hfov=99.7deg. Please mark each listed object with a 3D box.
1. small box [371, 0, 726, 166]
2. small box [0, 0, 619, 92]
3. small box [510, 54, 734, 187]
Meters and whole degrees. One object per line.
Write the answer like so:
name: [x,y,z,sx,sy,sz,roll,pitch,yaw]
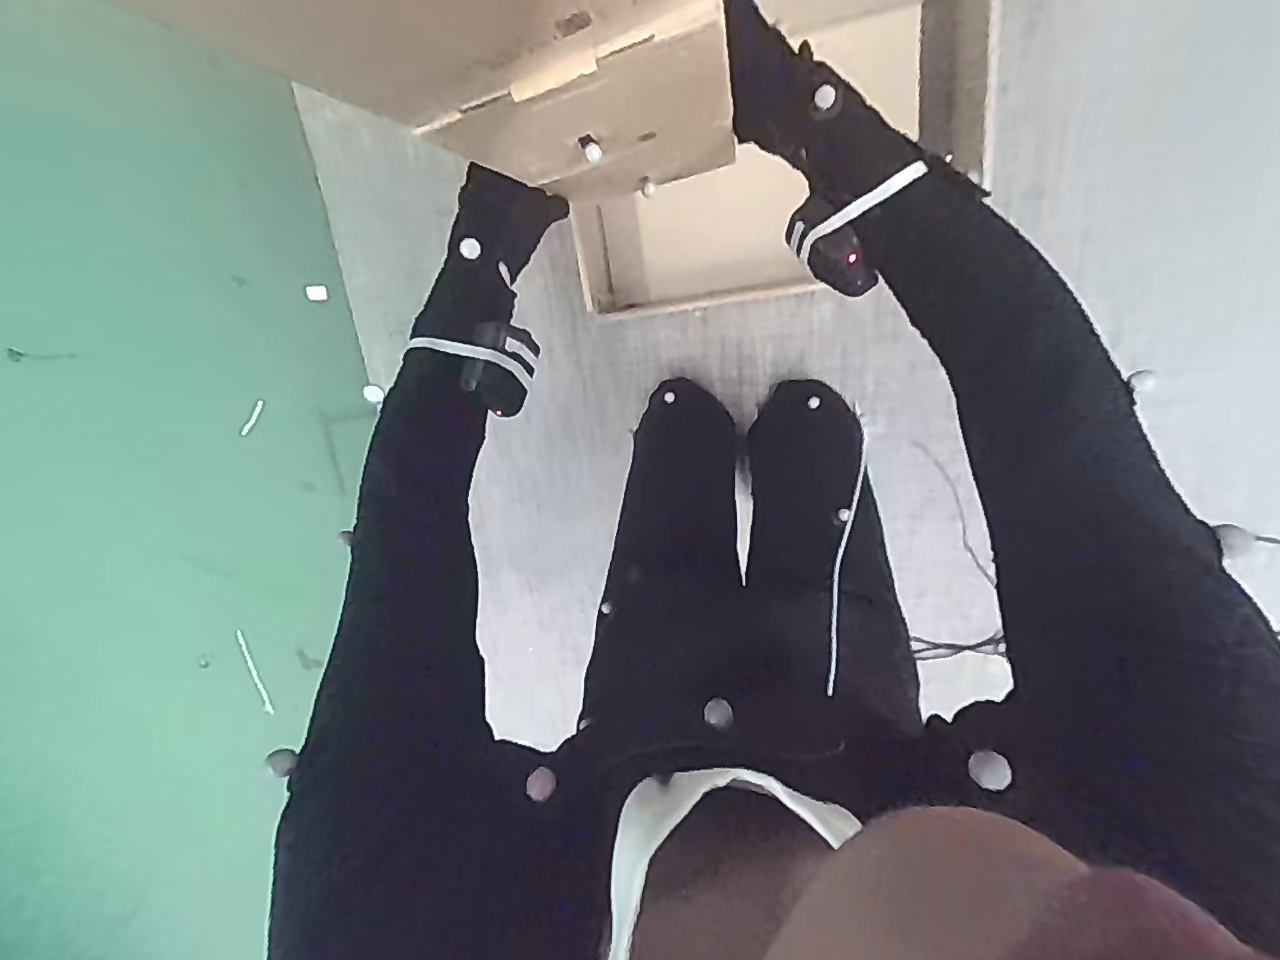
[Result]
small box: [-0.053,-0.292,0.284,0.168,0.176,0.179,-10,111,16]
small box: [-0.087,-0.231,0.136,0.168,0.176,0.179,-12,110,16]
small box: [-0.021,-0.355,0.430,0.168,0.176,0.179,-8,111,16]
